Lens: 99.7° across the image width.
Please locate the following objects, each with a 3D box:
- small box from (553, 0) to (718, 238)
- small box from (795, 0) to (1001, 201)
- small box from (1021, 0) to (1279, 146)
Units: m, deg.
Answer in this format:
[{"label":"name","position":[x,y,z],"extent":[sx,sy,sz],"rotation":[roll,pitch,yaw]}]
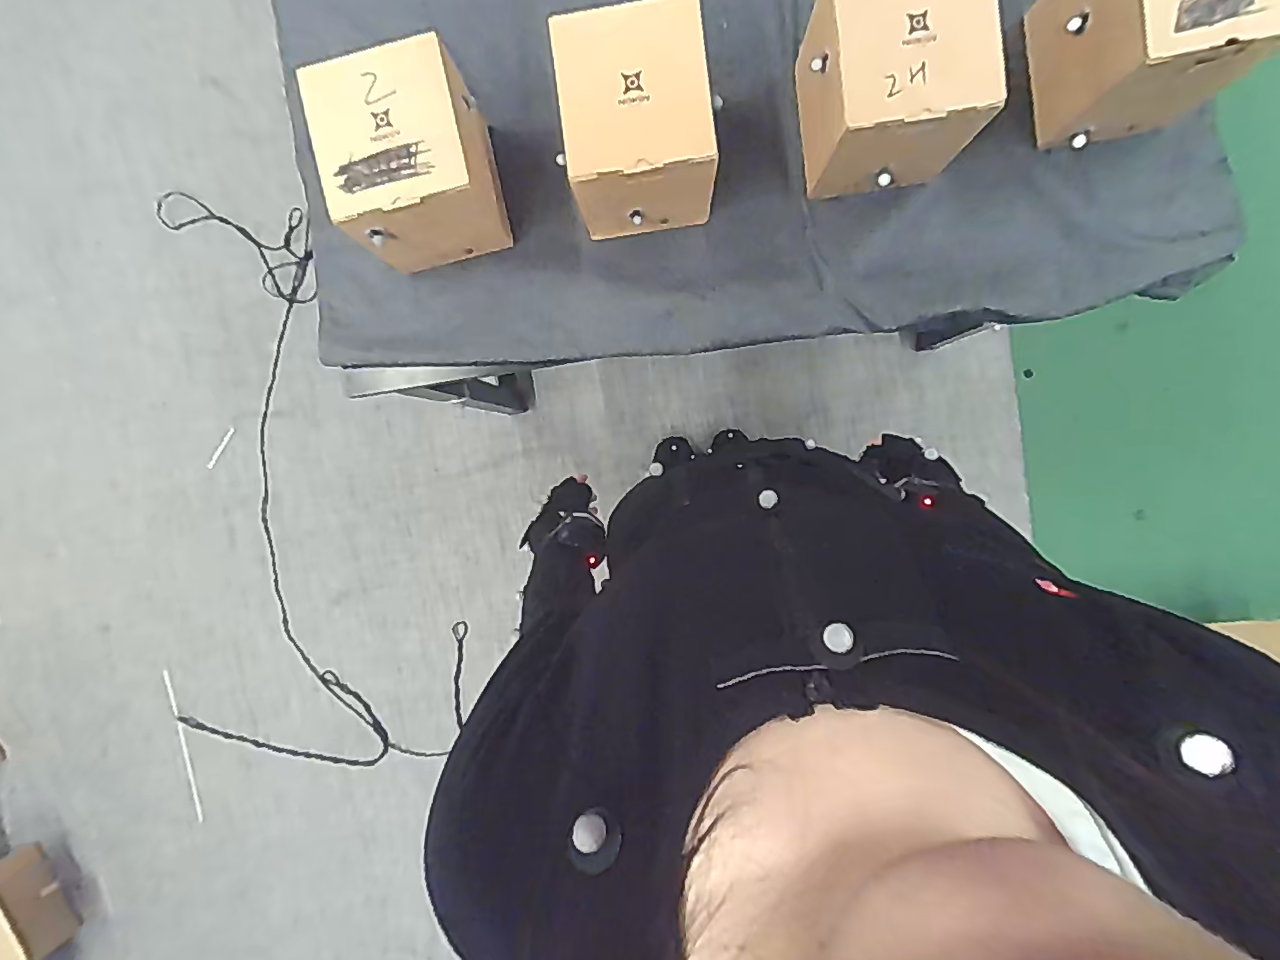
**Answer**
[{"label":"small box","position":[-0.003,-0.426,0.664],"extent":[0.168,0.176,0.179],"rotation":[-7,93,2]},{"label":"small box","position":[0.292,-0.467,0.647],"extent":[0.168,0.176,0.179],"rotation":[-7,93,3]},{"label":"small box","position":[0.585,-0.522,0.631],"extent":[0.168,0.176,0.179],"rotation":[-8,92,3]}]
